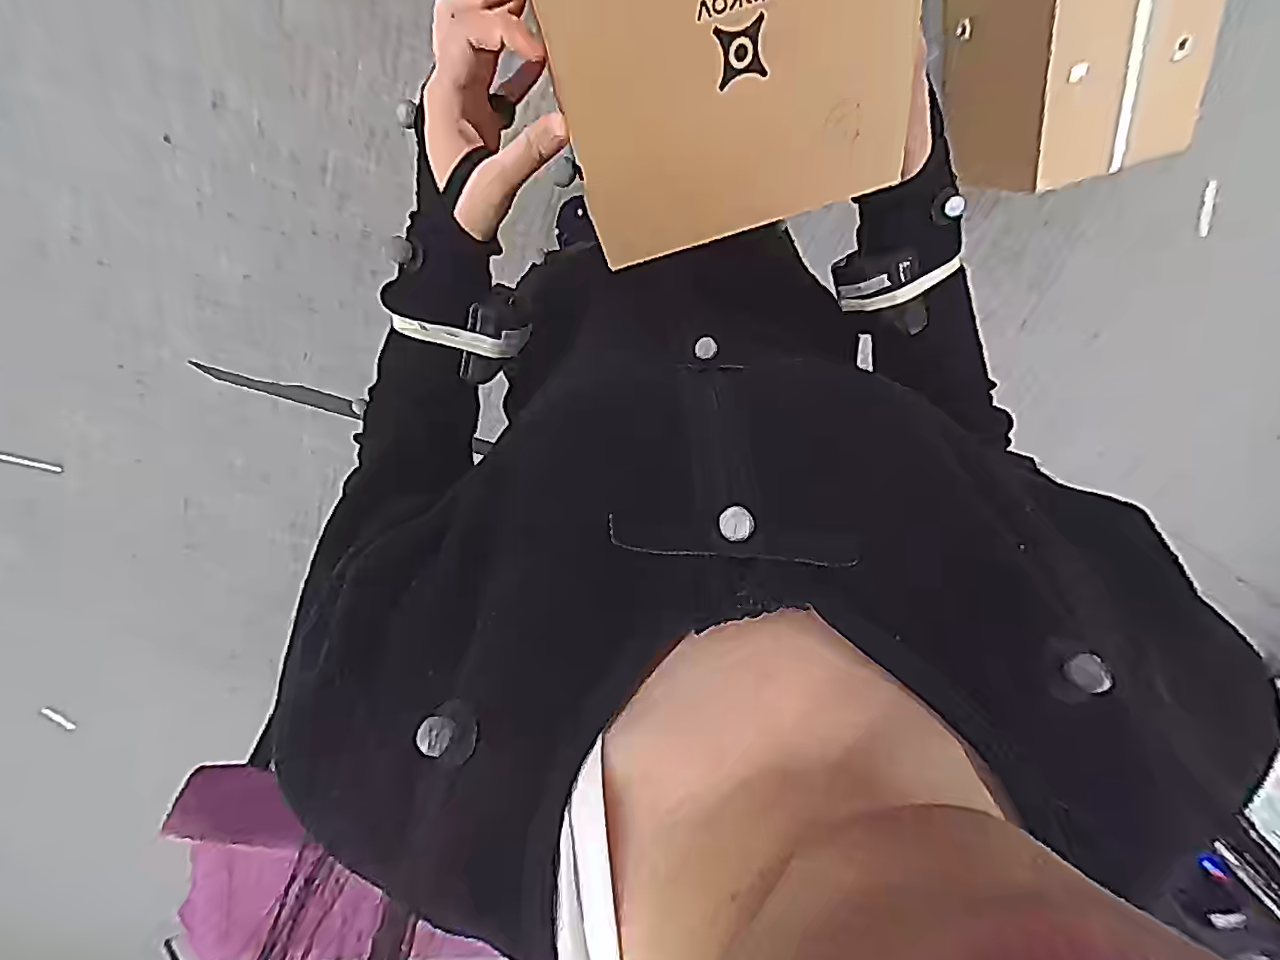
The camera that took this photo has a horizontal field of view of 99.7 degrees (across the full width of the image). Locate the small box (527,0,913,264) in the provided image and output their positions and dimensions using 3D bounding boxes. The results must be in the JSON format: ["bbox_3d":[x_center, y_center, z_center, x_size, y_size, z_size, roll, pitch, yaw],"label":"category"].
[{"bbox_3d":[0.028,-0.254,0.297,0.168,0.176,0.179,-17,134,1],"label":"small box"}]

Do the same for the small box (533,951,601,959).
[{"bbox_3d":[-0.179,1.217,1.243,0.168,0.176,0.179,11,120,-15],"label":"small box"}]
